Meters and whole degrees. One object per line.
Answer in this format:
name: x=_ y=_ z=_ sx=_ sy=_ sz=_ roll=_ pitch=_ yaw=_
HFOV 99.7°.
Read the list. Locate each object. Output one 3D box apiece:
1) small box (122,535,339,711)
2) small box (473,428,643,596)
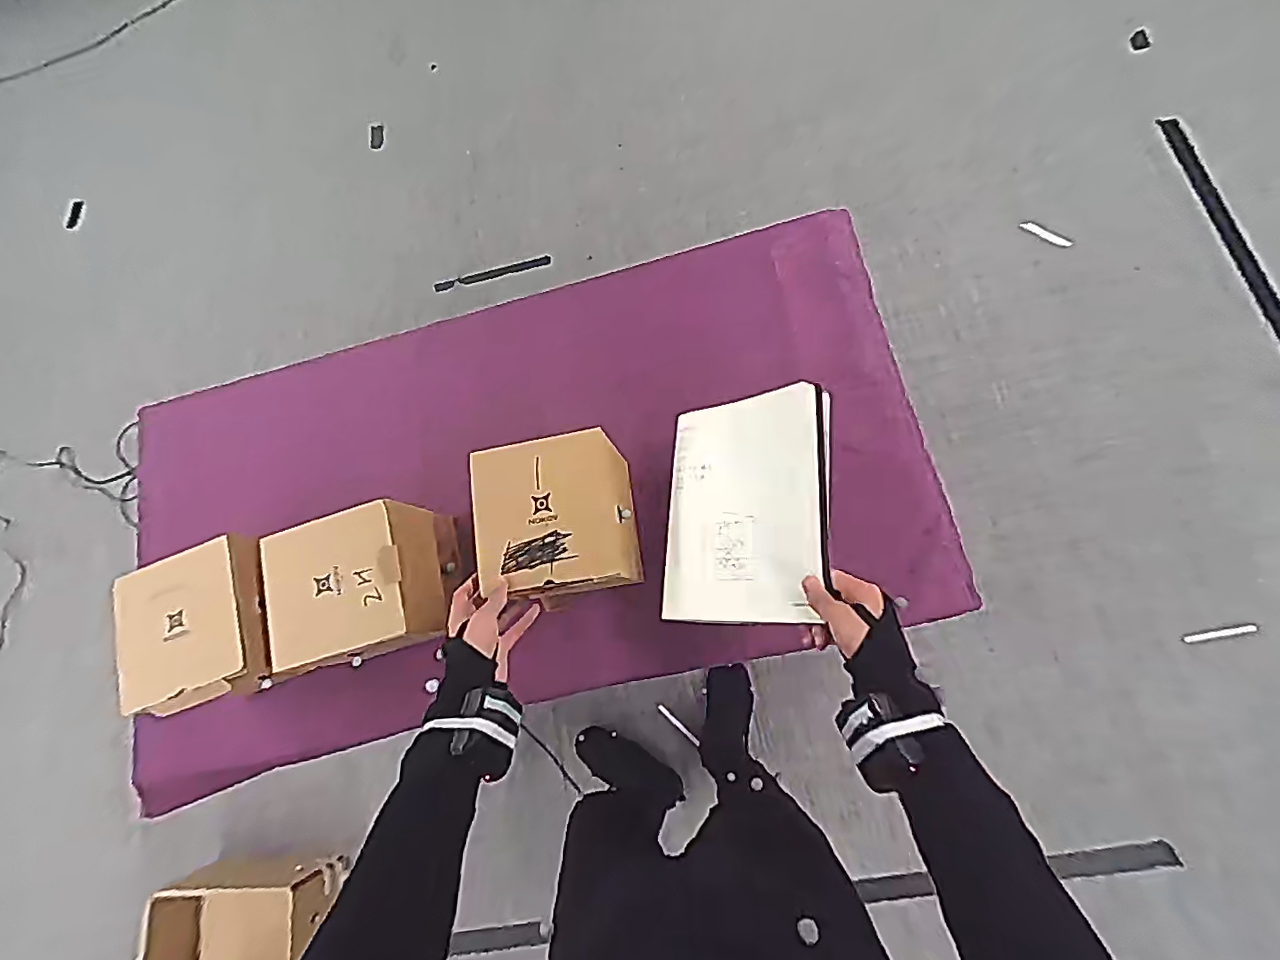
small box: x=-0.547 y=0.190 z=0.742 sx=0.168 sy=0.176 sz=0.179 roll=-21 pitch=74 yaw=4
small box: x=-0.097 y=0.052 z=0.697 sx=0.168 sy=0.176 sz=0.179 roll=-10 pitch=75 yaw=7
